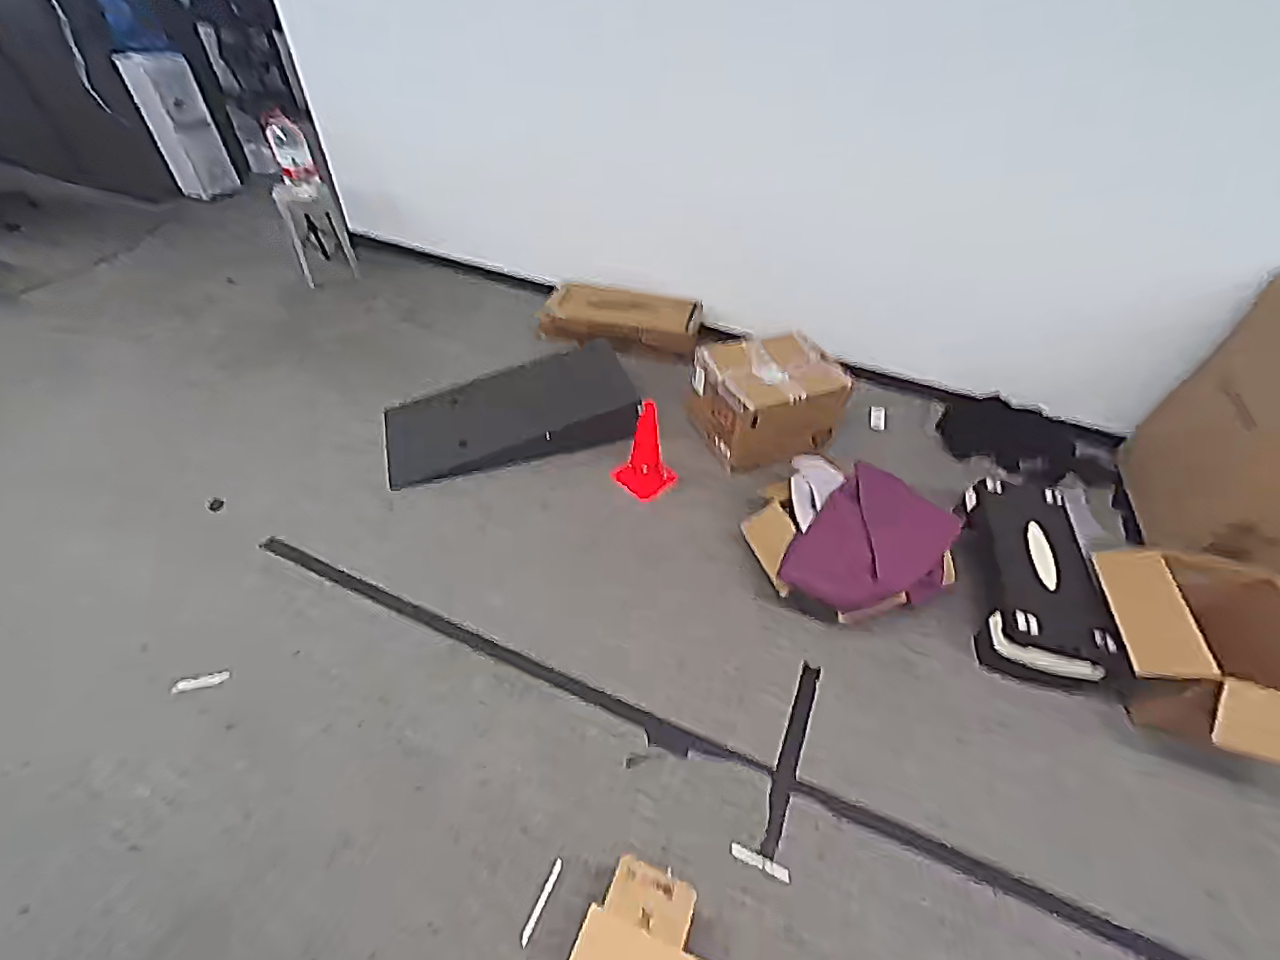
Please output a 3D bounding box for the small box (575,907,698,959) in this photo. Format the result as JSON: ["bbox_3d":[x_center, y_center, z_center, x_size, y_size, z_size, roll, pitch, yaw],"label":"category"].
[{"bbox_3d":[-0.008,0.527,0.455,0.168,0.176,0.179,17,32,14],"label":"small box"}]

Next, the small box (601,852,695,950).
[{"bbox_3d":[0.002,0.896,1.086,0.168,0.176,0.179,18,48,14],"label":"small box"}]
